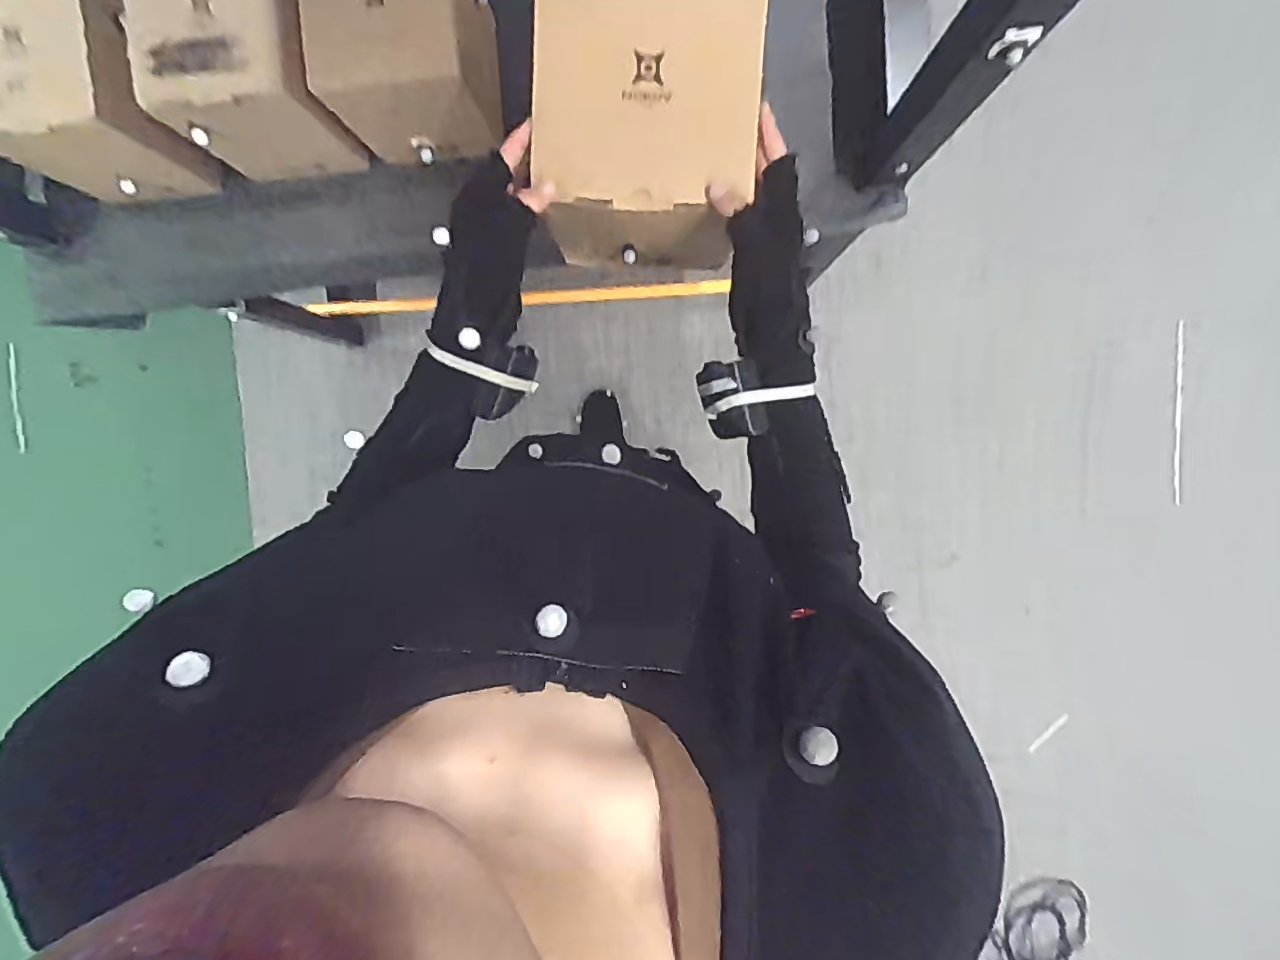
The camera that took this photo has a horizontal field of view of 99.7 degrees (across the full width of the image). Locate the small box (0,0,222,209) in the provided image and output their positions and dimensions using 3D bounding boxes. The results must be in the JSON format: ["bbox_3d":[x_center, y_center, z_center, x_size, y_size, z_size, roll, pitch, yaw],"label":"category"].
[{"bbox_3d":[-0.658,-0.460,0.658,0.168,0.176,0.179,-4,94,2],"label":"small box"}]
